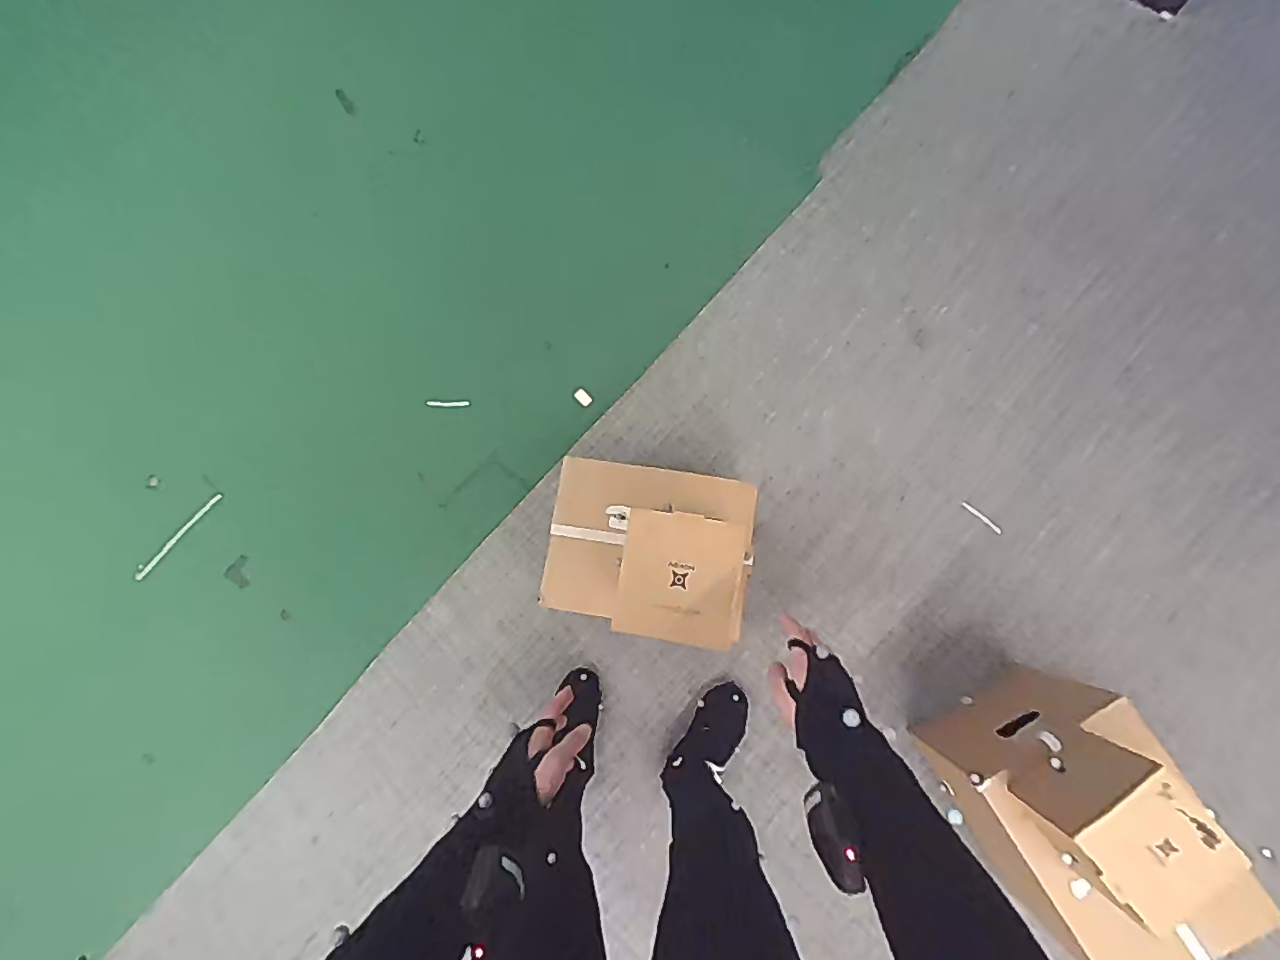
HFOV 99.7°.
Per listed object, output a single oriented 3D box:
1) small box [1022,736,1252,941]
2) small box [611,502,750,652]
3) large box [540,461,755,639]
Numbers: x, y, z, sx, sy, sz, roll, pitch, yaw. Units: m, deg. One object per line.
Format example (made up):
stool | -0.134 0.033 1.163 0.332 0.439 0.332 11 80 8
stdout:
small box | 0.747 0.541 0.845 0.179 0.176 0.168 -38 80 0
small box | 0.062 0.140 0.806 0.168 0.176 0.179 9 83 7
large box | 0.032 0.157 1.222 0.408 0.320 0.320 8 80 7
